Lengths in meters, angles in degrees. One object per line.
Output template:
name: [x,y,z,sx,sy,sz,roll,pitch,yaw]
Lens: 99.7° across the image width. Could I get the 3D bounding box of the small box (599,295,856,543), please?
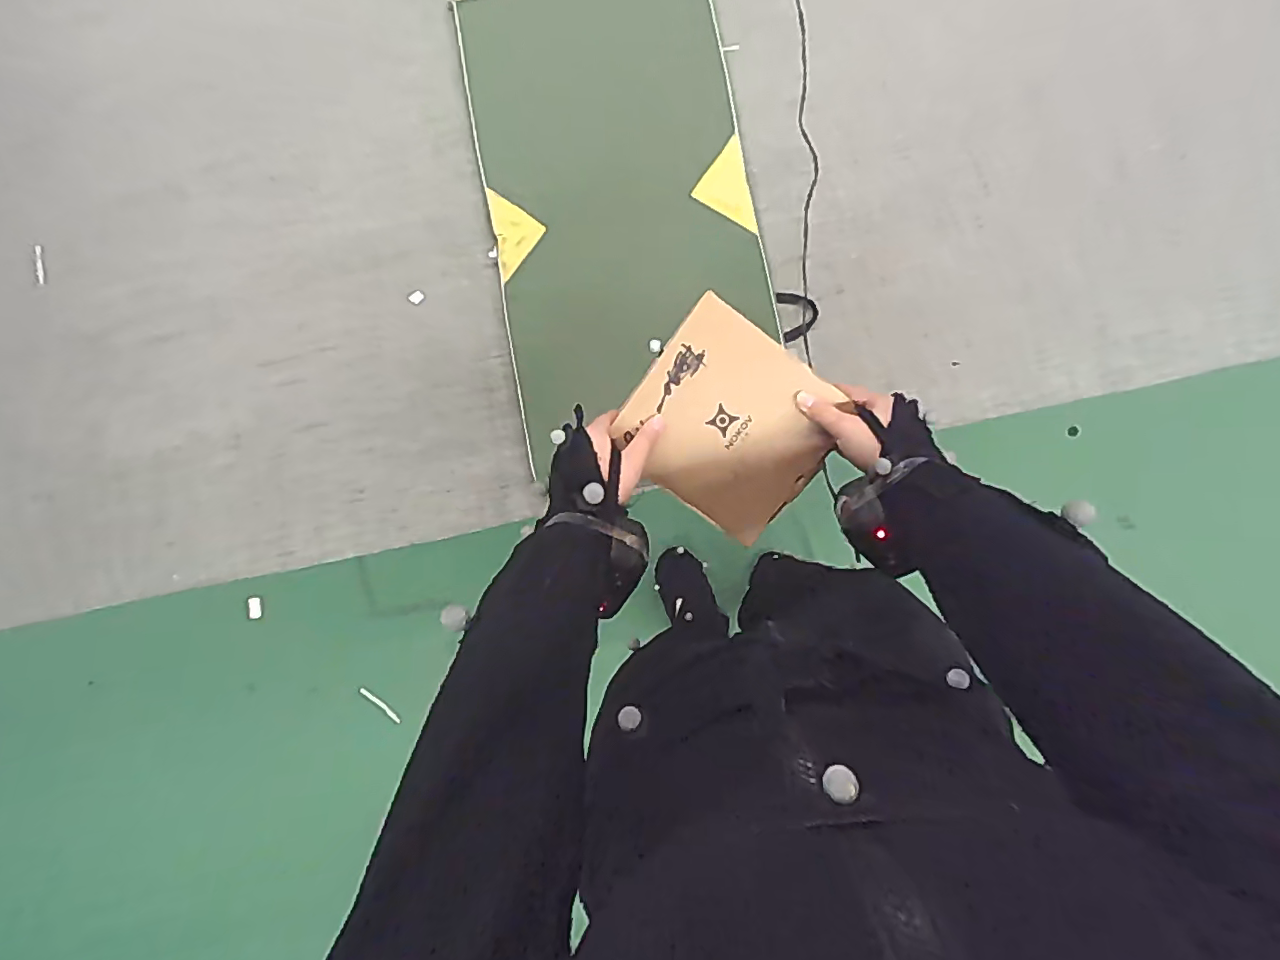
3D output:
small box: [0.080,-0.071,0.565,0.179,0.176,0.168,36,103,-7]
